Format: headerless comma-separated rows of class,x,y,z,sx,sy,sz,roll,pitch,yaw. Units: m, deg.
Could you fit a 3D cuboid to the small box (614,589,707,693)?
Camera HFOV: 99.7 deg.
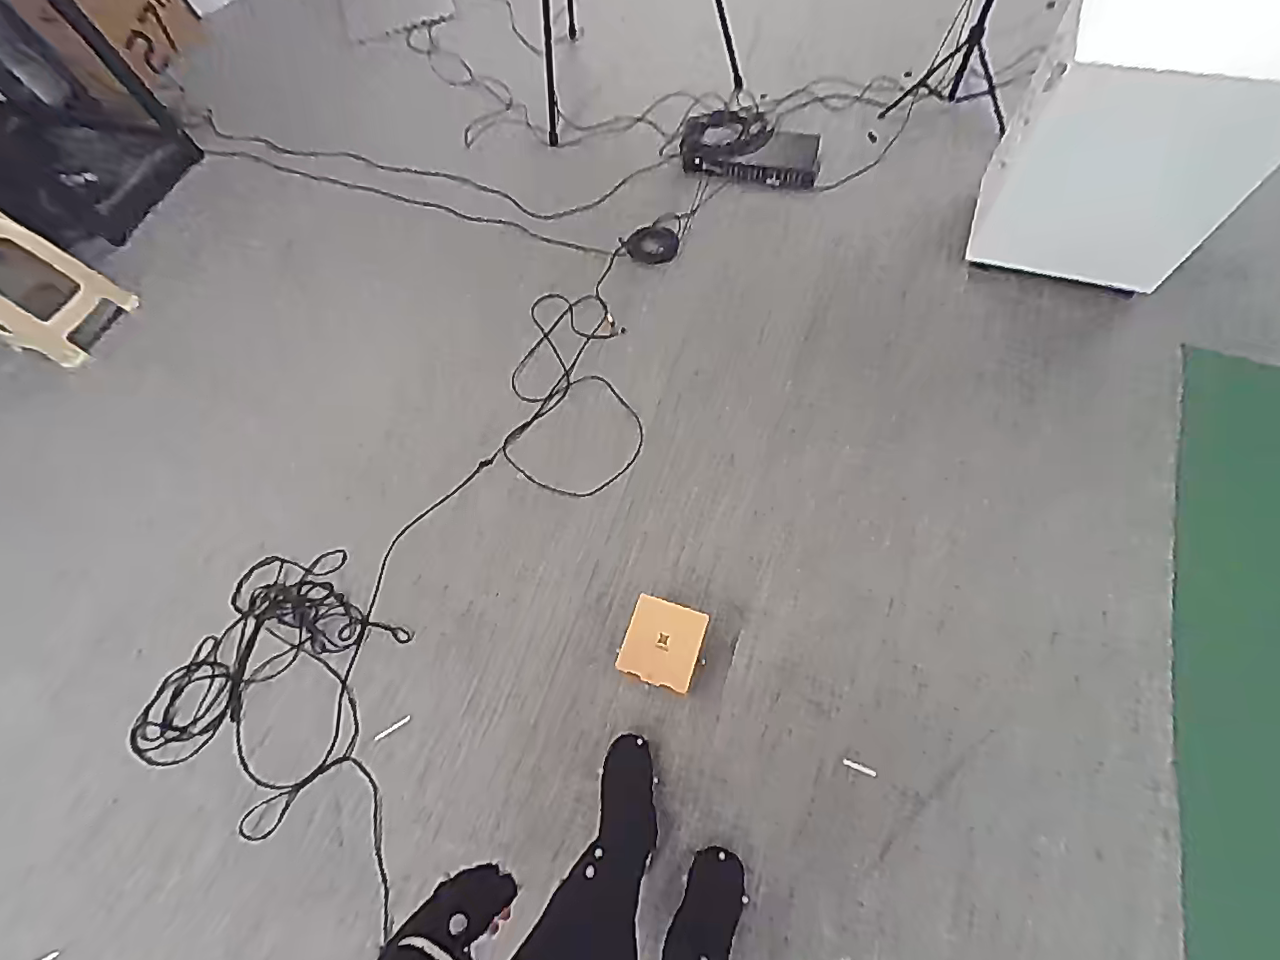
small box,0.052,0.380,1.262,0.168,0.176,0.179,15,68,14
